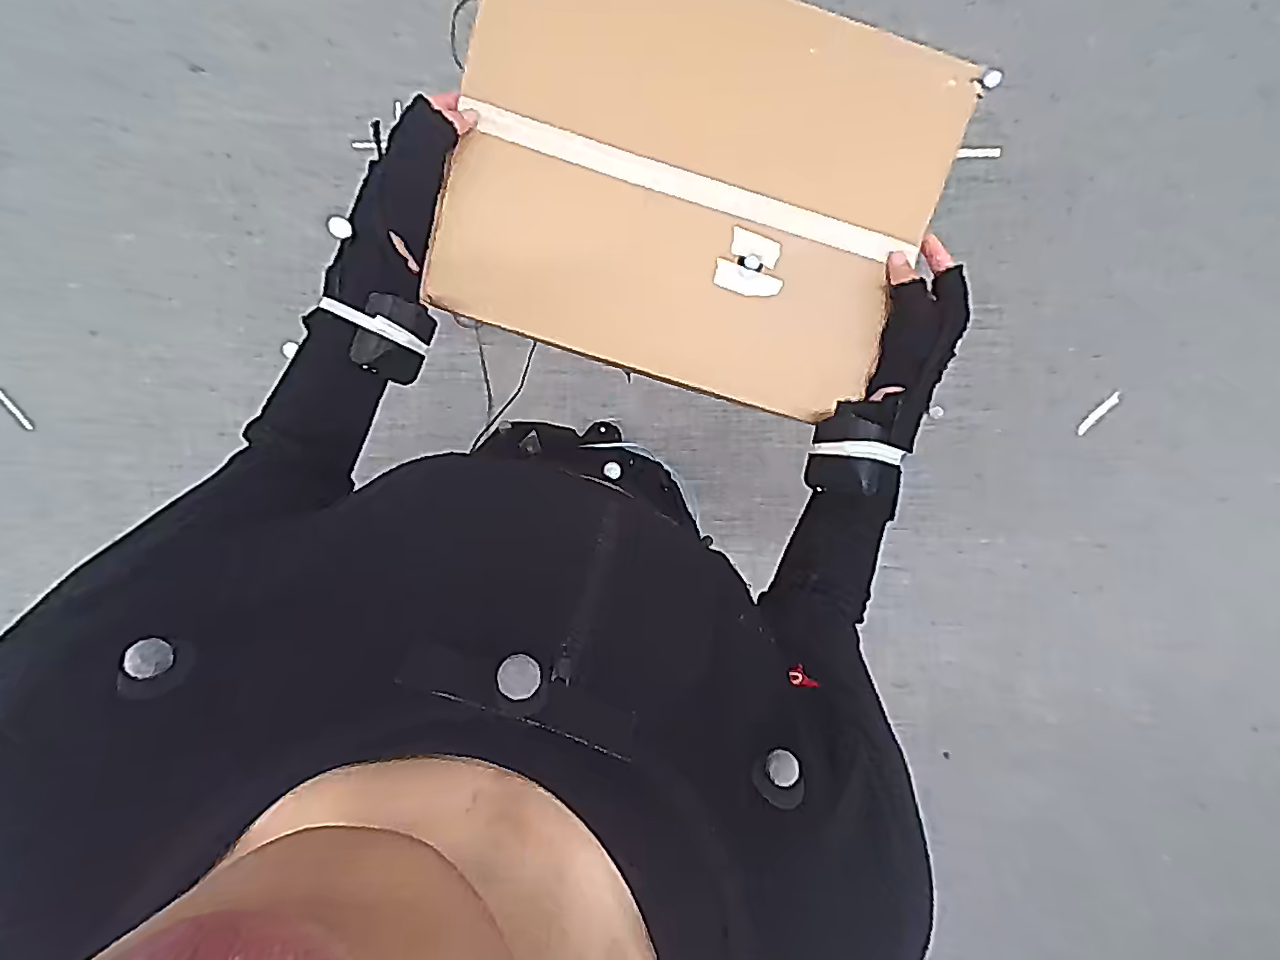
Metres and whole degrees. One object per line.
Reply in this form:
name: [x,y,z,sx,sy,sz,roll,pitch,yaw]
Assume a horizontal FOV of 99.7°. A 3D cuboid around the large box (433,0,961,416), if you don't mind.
large box: [0.038,-0.281,0.616,0.408,0.320,0.320,16,101,-5]
